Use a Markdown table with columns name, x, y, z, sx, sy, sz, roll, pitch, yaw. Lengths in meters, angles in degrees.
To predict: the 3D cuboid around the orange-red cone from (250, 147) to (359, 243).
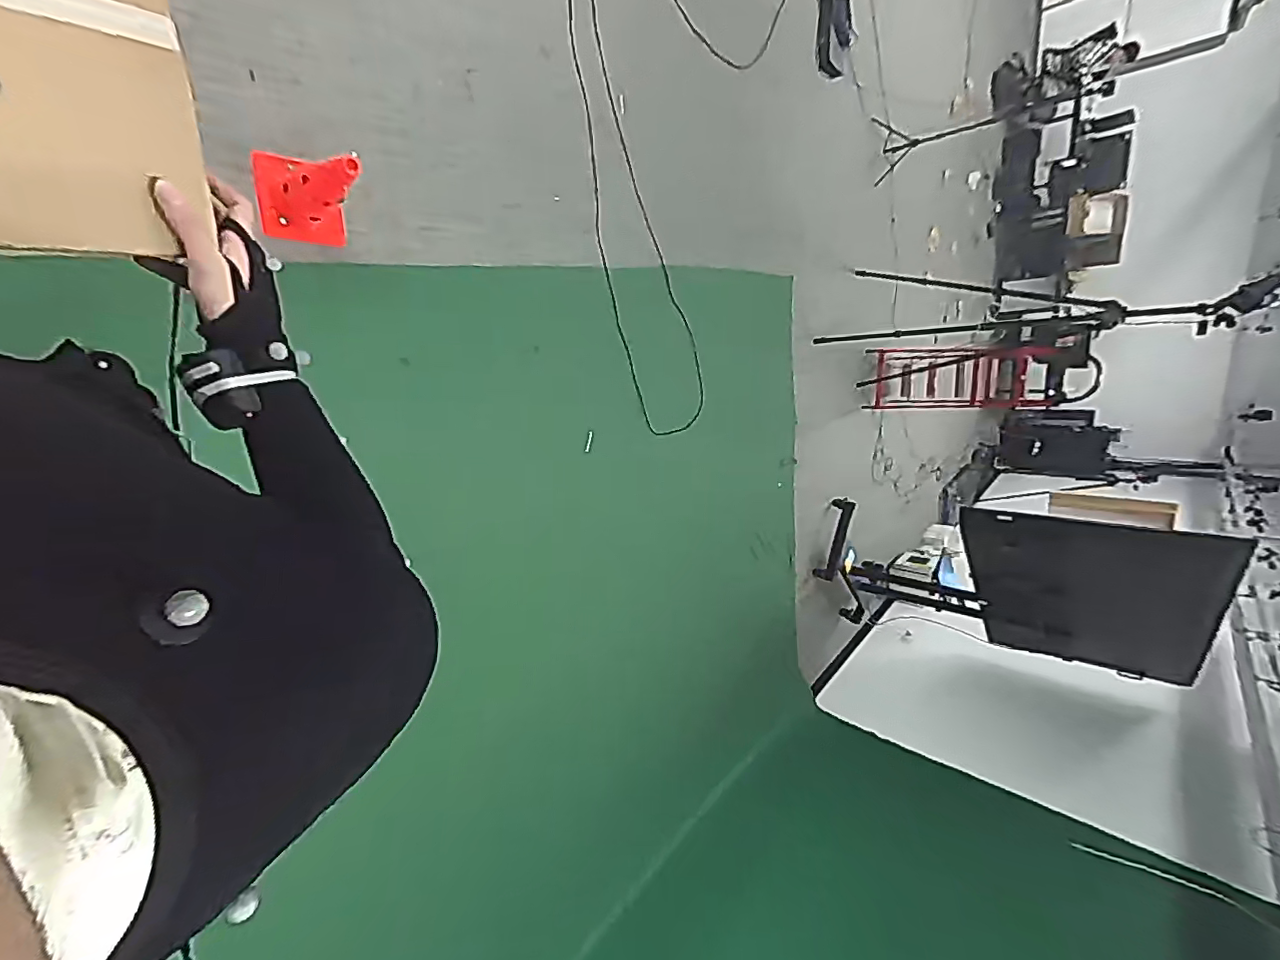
| name | x | y | z | sx | sy | sz | roll | pitch | yaw |
| --- | --- | --- | --- | --- | --- | --- | --- | --- | --- |
| orange-red cone | -0.757 | -0.710 | 1.287 | 0.199 | 0.360 | 0.198 | -12 | 106 | -48 |
